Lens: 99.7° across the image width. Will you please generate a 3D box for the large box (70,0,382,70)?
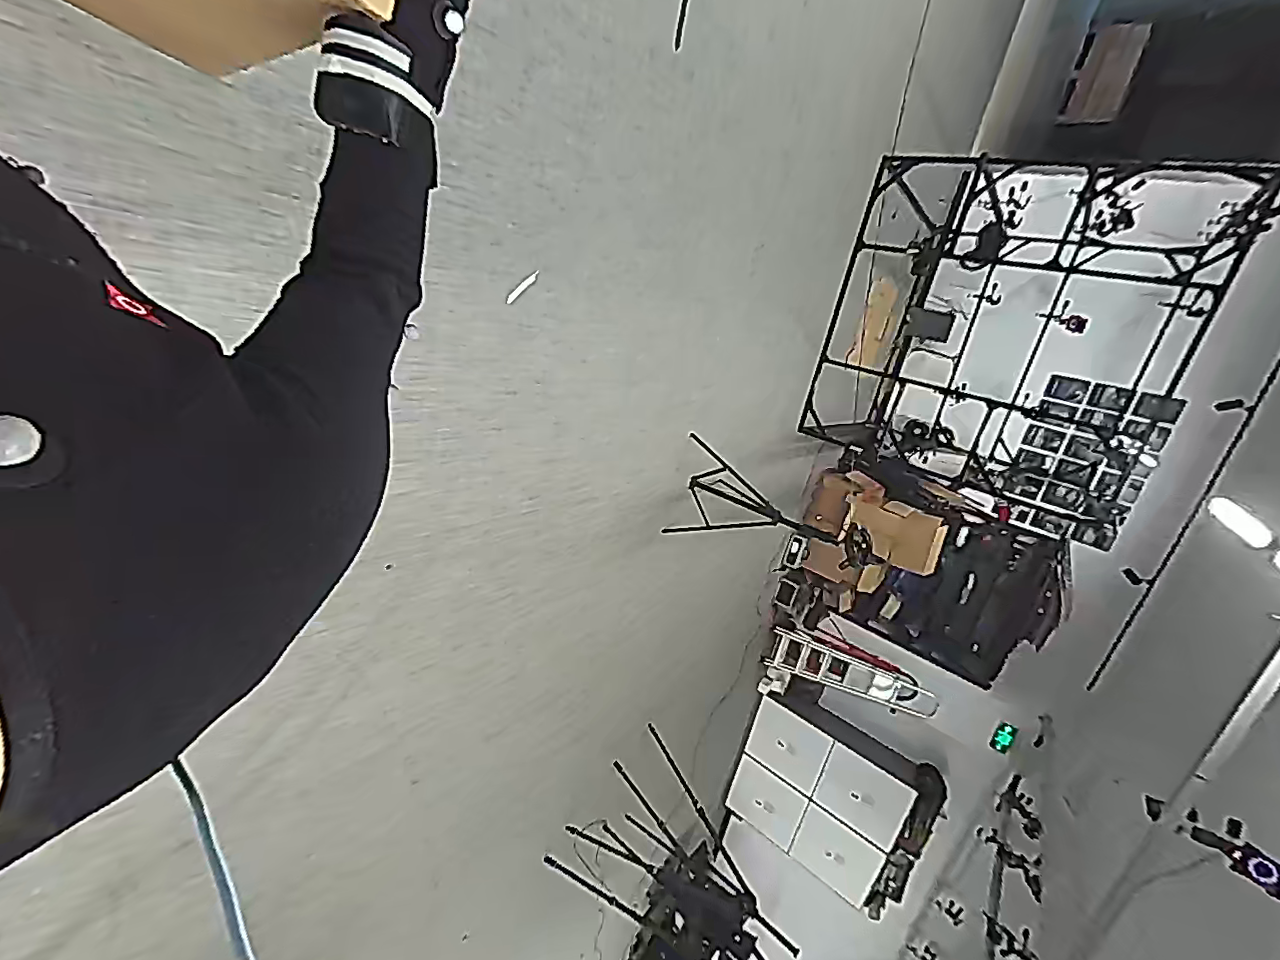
[{"bbox_3d":[-0.377,-0.505,0.266,0.408,0.320,0.320,1,105,-57],"label":"large box"}]
